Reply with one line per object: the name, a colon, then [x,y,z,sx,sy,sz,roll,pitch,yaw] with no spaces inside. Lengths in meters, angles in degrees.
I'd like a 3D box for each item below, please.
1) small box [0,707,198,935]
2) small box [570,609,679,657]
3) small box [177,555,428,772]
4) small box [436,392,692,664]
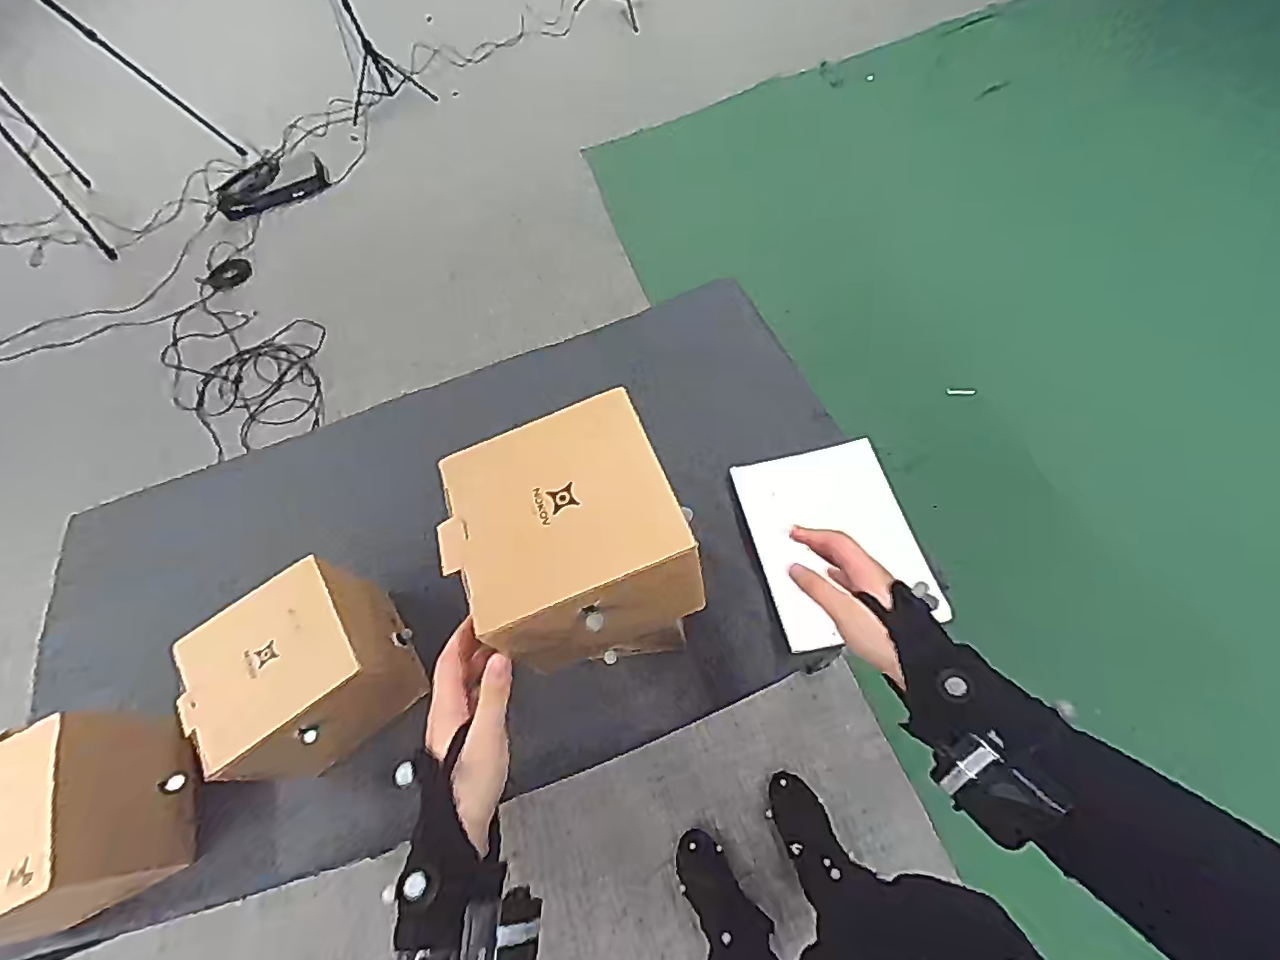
small box: [-0.653,0.387,0.618,0.168,0.176,0.179,-26,62,-5]
small box: [-0.046,0.108,0.661,0.168,0.176,0.179,-8,63,6]
small box: [-0.398,0.228,0.660,0.179,0.176,0.168,-35,64,-10]
small box: [-0.059,0.054,0.507,0.179,0.176,0.168,-23,61,-2]
